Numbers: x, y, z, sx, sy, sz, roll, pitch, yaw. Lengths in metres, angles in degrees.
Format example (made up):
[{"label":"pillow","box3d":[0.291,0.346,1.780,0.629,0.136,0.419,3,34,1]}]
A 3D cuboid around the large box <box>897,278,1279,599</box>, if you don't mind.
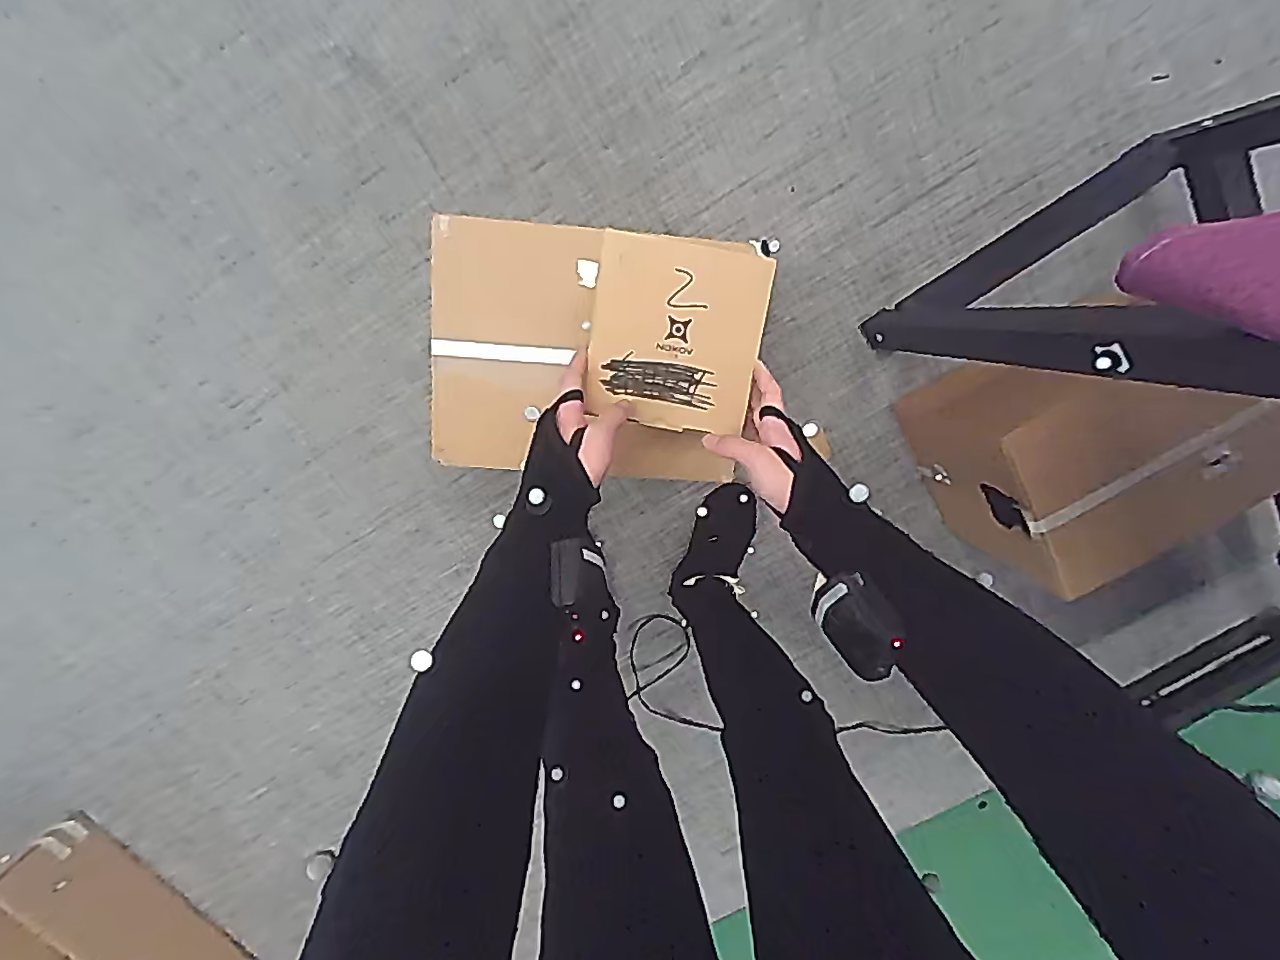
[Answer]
[{"label":"large box","box3d":[0.740,-0.079,0.913,0.408,0.320,0.320,-31,105,5]}]
